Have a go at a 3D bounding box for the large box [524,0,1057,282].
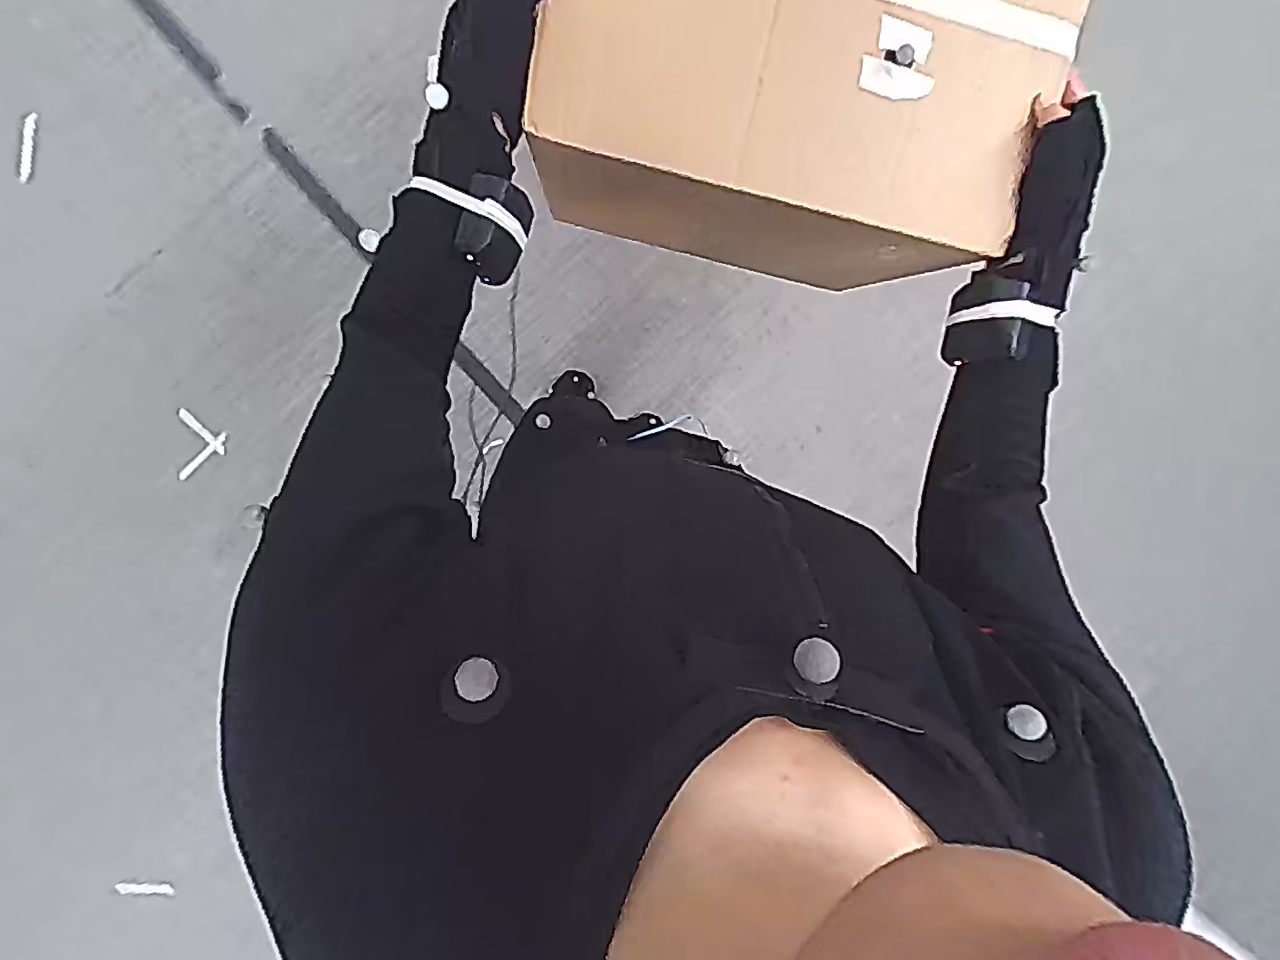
[{"bbox_3d":[0.112,-0.414,0.553,0.408,0.320,0.320,9,104,-8],"label":"large box"}]
